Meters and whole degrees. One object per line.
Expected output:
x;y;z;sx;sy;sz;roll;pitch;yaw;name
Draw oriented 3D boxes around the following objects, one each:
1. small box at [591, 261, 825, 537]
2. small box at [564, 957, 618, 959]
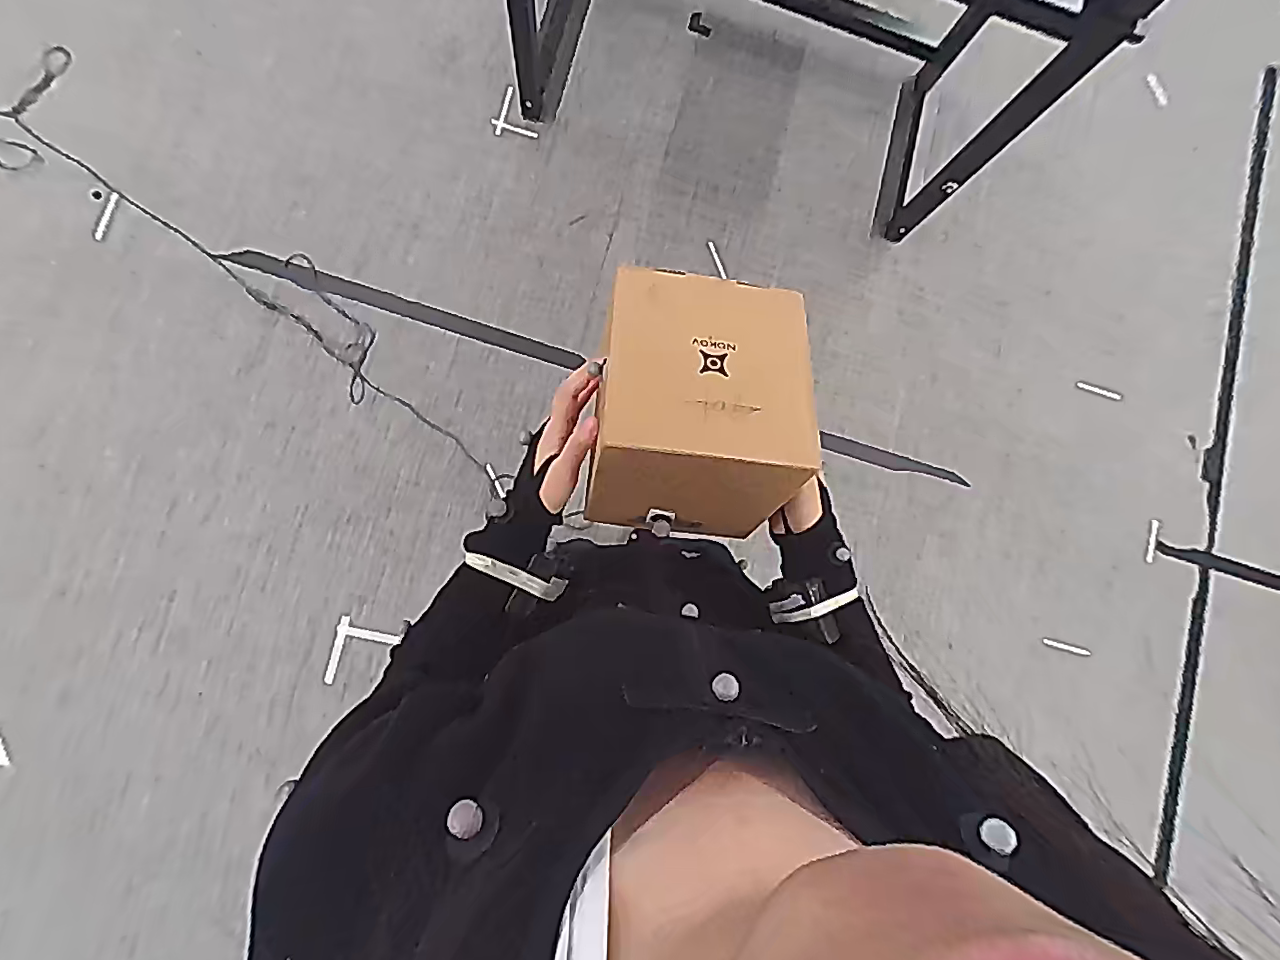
0.047;-0.062;0.493;0.168;0.176;0.179;6;65;-7;small box
-0.131;1.315;1.319;0.179;0.176;0.168;4;85;-8;small box
